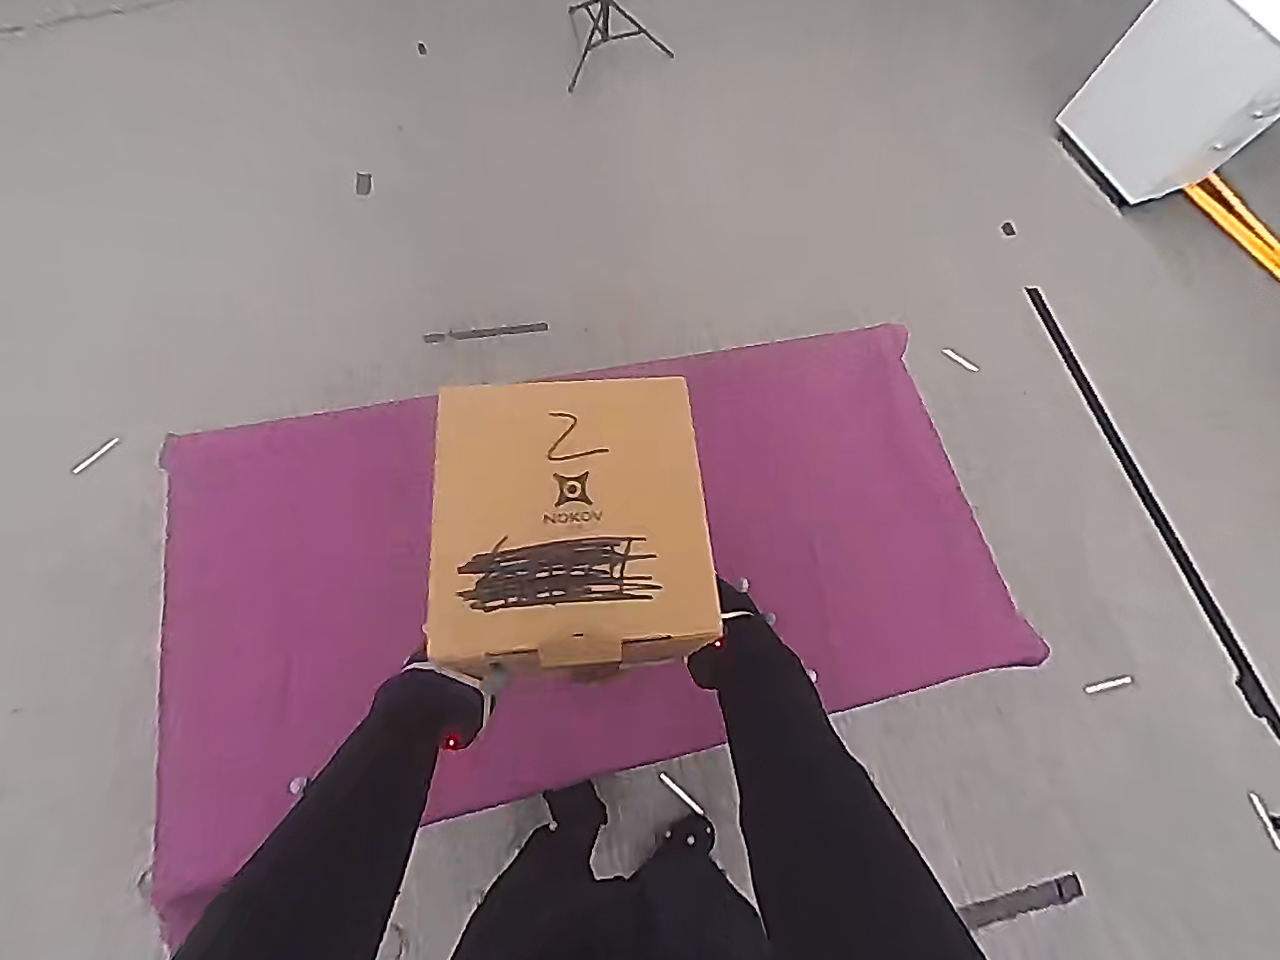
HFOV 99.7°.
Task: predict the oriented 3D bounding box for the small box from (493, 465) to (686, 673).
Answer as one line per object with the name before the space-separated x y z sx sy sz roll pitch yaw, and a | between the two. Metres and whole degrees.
small box | -0.054 0.098 0.558 0.168 0.176 0.179 -3 69 -6
